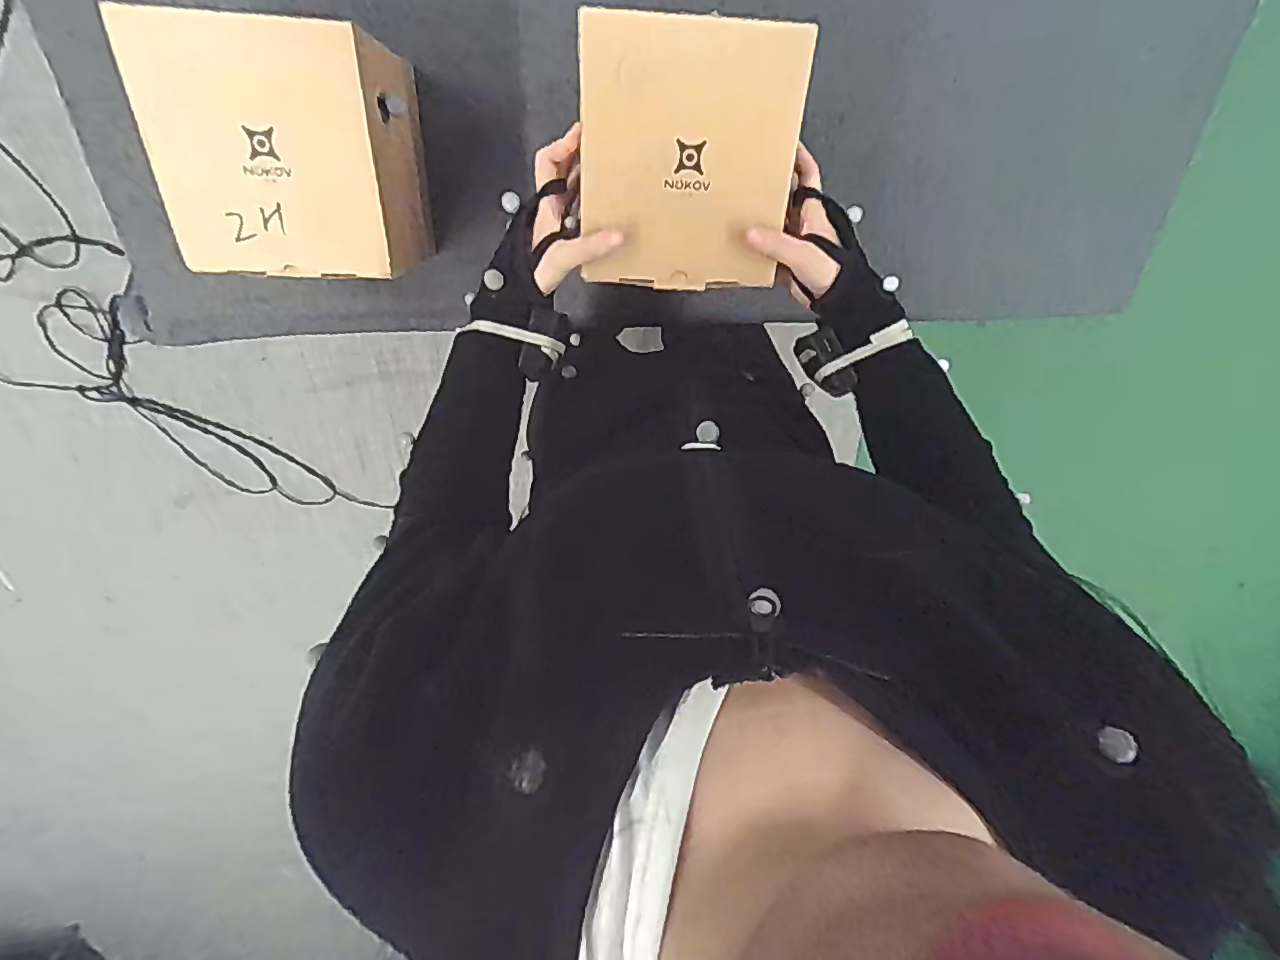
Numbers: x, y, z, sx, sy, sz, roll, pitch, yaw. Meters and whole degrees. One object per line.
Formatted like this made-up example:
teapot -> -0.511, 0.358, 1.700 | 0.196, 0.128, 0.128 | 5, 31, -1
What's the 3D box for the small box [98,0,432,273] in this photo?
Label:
small box -> -0.290, -0.286, 0.470 | 0.168, 0.176, 0.179 | 0, 118, -7
